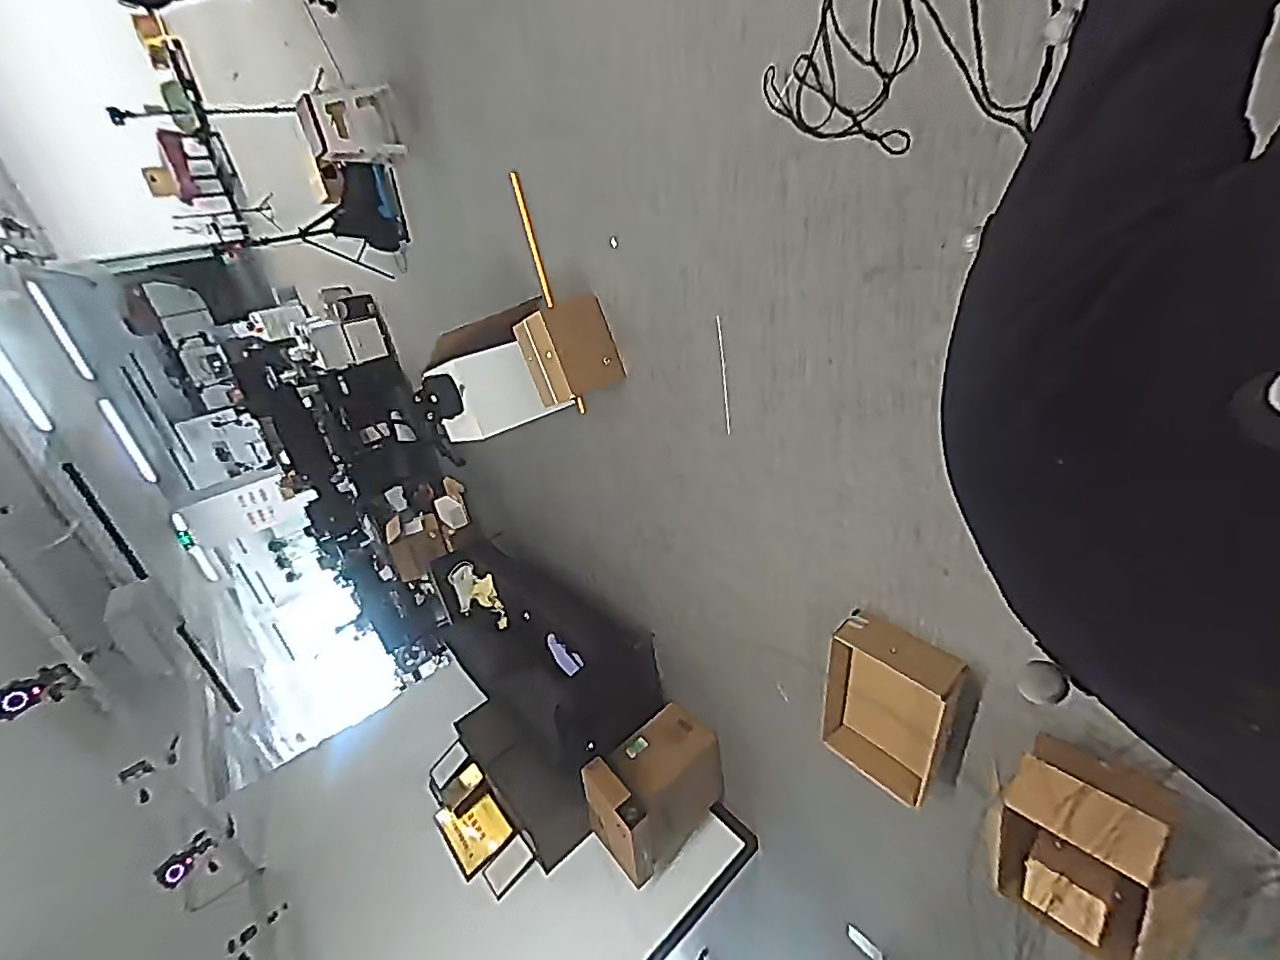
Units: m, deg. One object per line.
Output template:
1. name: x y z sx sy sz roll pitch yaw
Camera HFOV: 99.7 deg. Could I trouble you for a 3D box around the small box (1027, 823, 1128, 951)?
1. small box: 1.159 1.066 1.433 0.168 0.176 0.179 16 124 50
